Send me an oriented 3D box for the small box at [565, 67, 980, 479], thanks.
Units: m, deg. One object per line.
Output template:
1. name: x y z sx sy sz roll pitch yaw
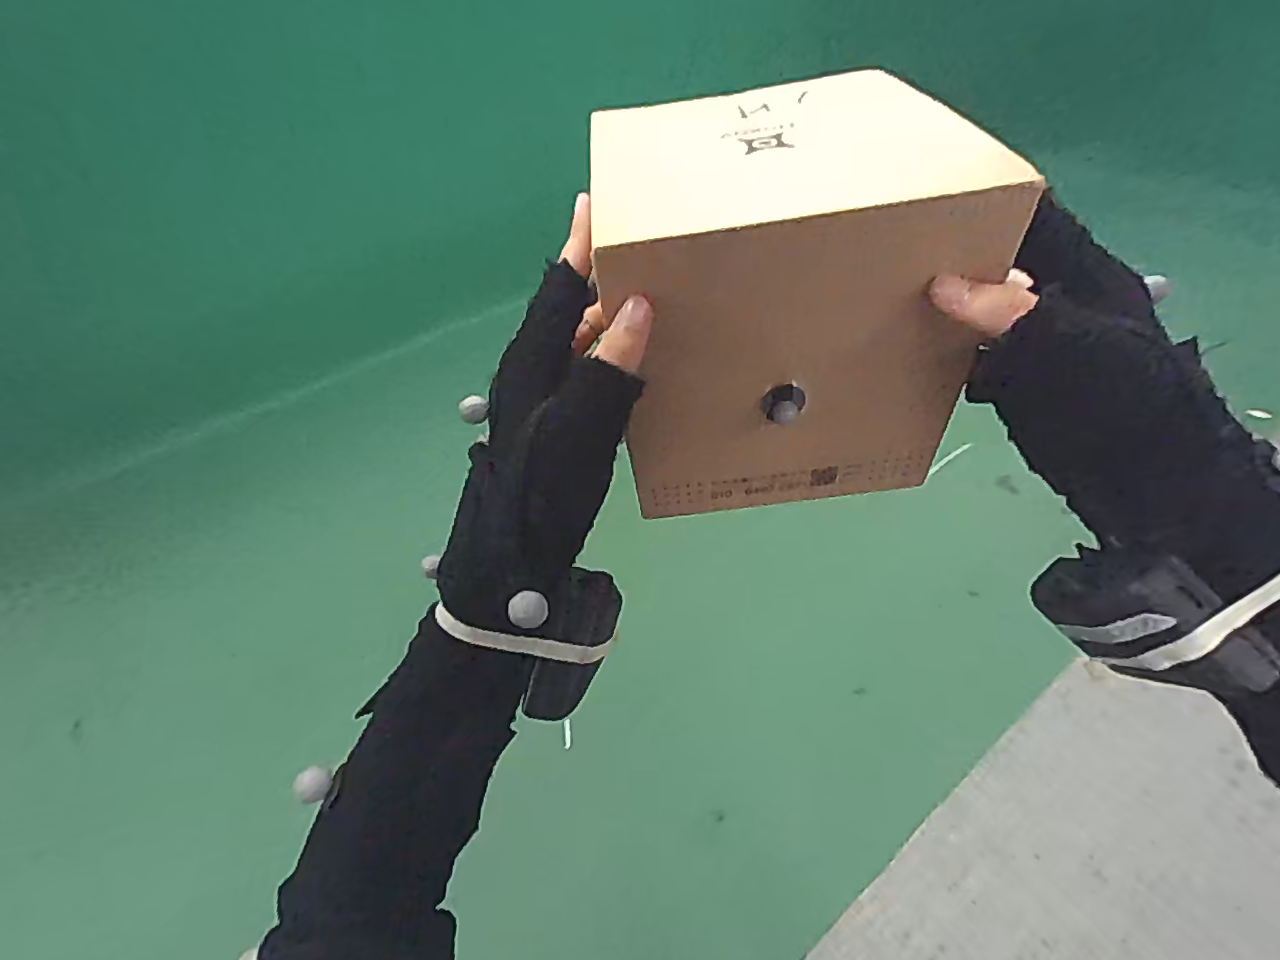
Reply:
1. small box: 0.058 -0.114 0.324 0.168 0.176 0.179 -6 46 4
